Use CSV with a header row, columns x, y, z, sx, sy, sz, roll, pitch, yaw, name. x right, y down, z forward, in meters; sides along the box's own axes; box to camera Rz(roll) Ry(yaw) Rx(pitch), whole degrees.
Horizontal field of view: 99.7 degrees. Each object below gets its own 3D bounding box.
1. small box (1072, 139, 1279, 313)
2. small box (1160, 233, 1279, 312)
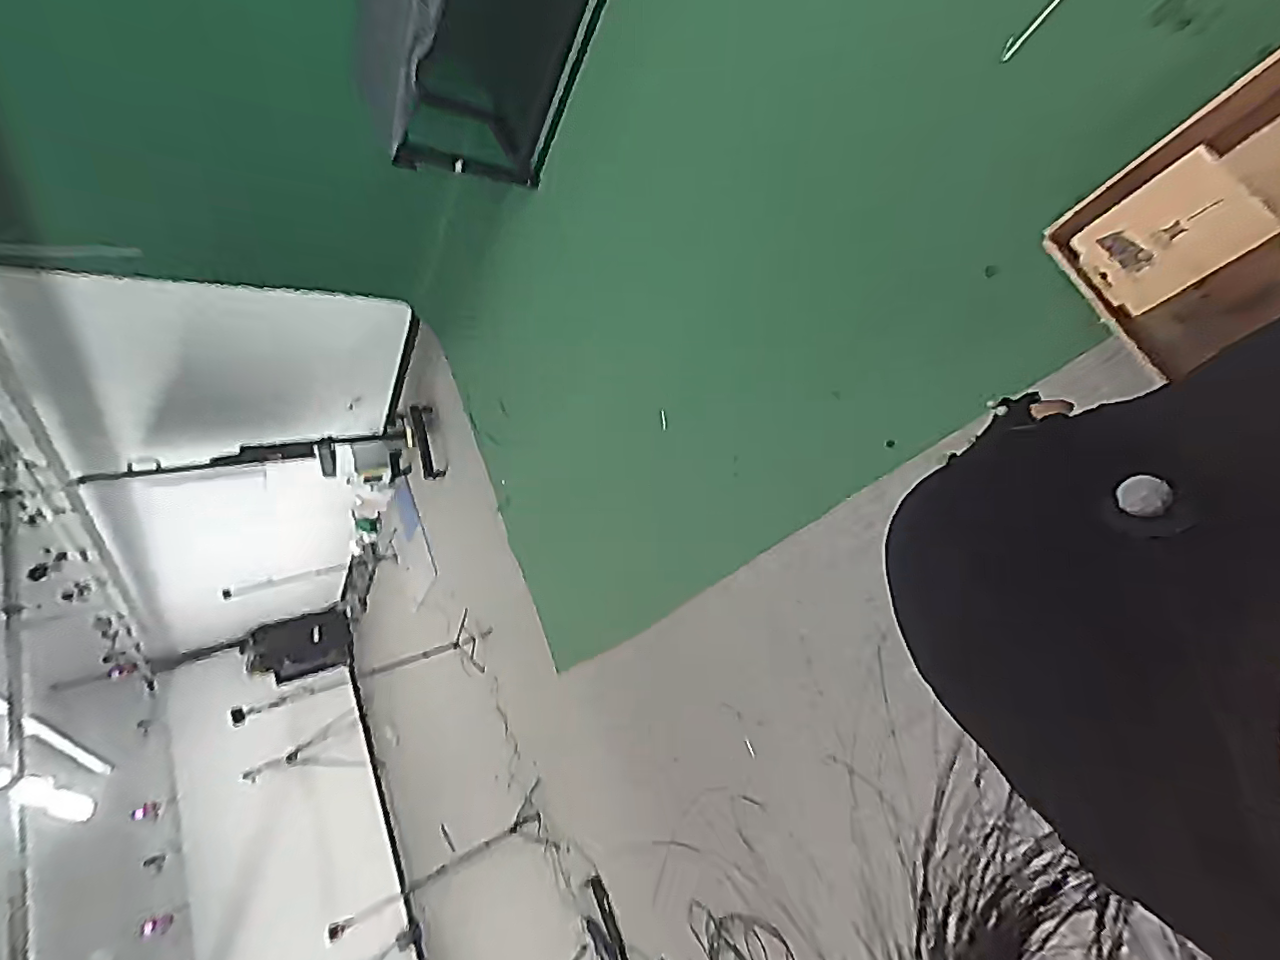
x,y,z,sx,sy,sz,roll,pitch,yaw,name
0.842,-0.383,0.852,0.179,0.176,0.168,-43,66,45,small box
0.967,-0.417,0.954,0.168,0.176,0.179,-44,65,46,small box
